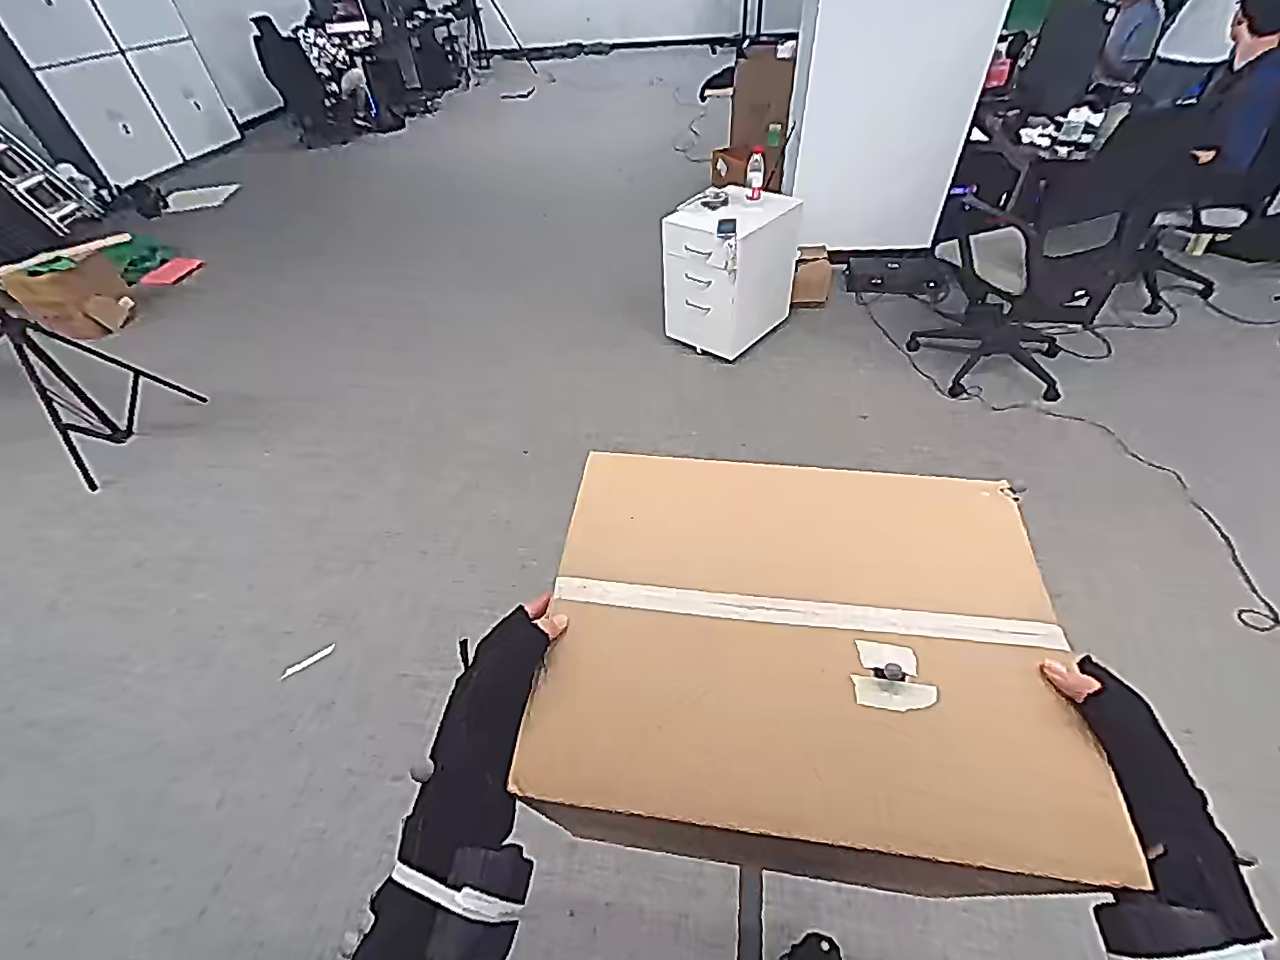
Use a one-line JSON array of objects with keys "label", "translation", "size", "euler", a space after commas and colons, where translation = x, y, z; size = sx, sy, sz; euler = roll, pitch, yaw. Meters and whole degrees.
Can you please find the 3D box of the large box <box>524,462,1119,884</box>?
[{"label": "large box", "translation": [0.134, 0.206, 0.570], "size": [0.408, 0.320, 0.320], "euler": [5, 54, 7]}]
